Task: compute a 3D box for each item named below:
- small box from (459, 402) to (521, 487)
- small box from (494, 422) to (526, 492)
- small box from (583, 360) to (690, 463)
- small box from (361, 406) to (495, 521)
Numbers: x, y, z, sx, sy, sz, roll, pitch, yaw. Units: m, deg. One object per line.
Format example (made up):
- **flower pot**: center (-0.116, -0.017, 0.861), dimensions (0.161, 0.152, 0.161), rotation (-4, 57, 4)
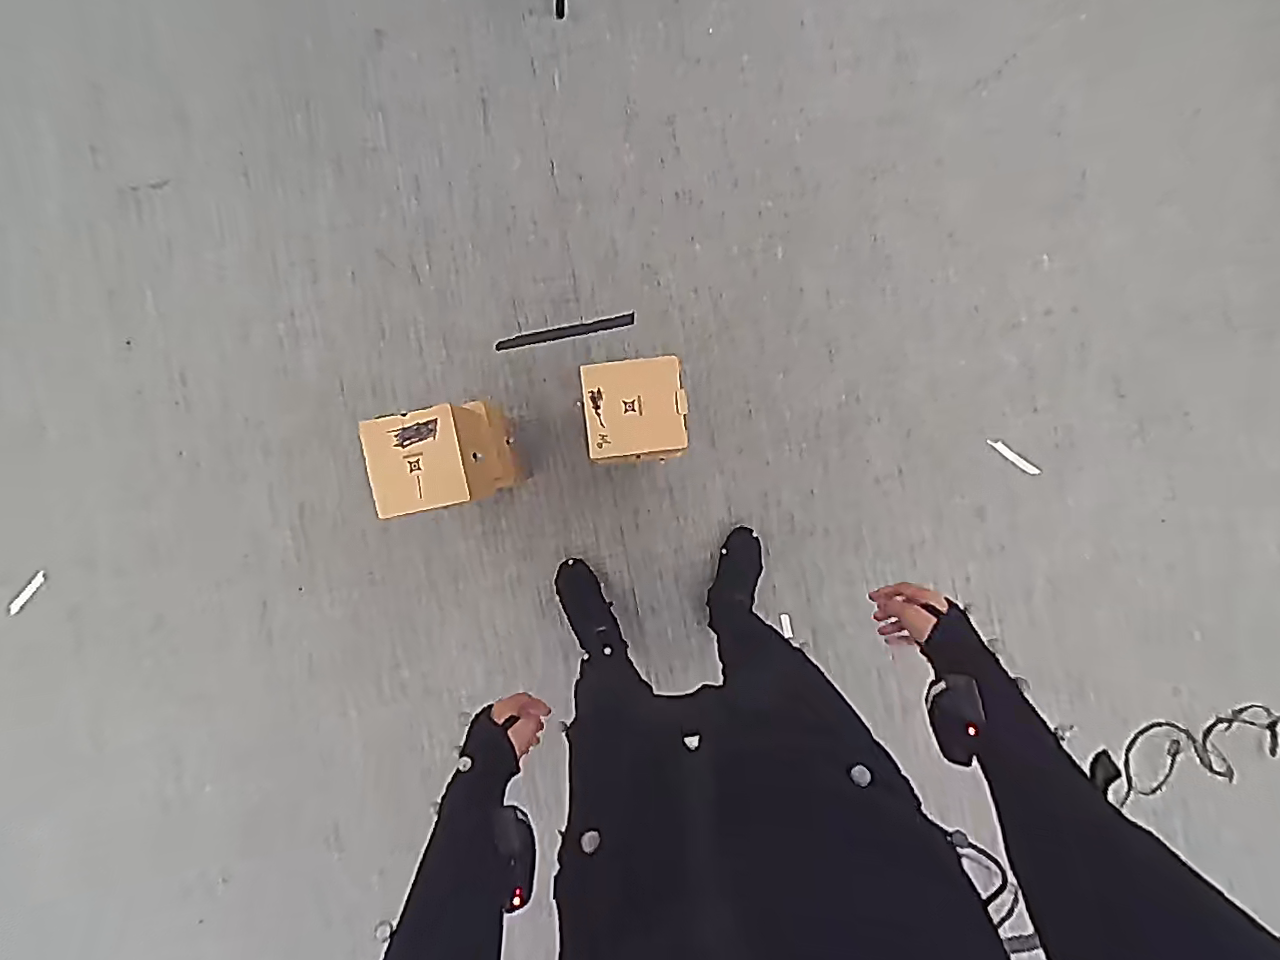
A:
- **small box**: center (-0.377, -0.058, 1.172), dimensions (0.179, 0.176, 0.168), rotation (-16, 91, -1)
- **small box**: center (-0.393, -0.054, 1.336), dimensions (0.168, 0.176, 0.179), rotation (-14, 91, -1)
- **small box**: center (-0.011, -0.123, 1.017), dimensions (0.179, 0.176, 0.168), rotation (-6, 90, -2)
- **small box**: center (-0.385, -0.029, 1.008), dimensions (0.168, 0.176, 0.179), rotation (-12, 92, 0)
